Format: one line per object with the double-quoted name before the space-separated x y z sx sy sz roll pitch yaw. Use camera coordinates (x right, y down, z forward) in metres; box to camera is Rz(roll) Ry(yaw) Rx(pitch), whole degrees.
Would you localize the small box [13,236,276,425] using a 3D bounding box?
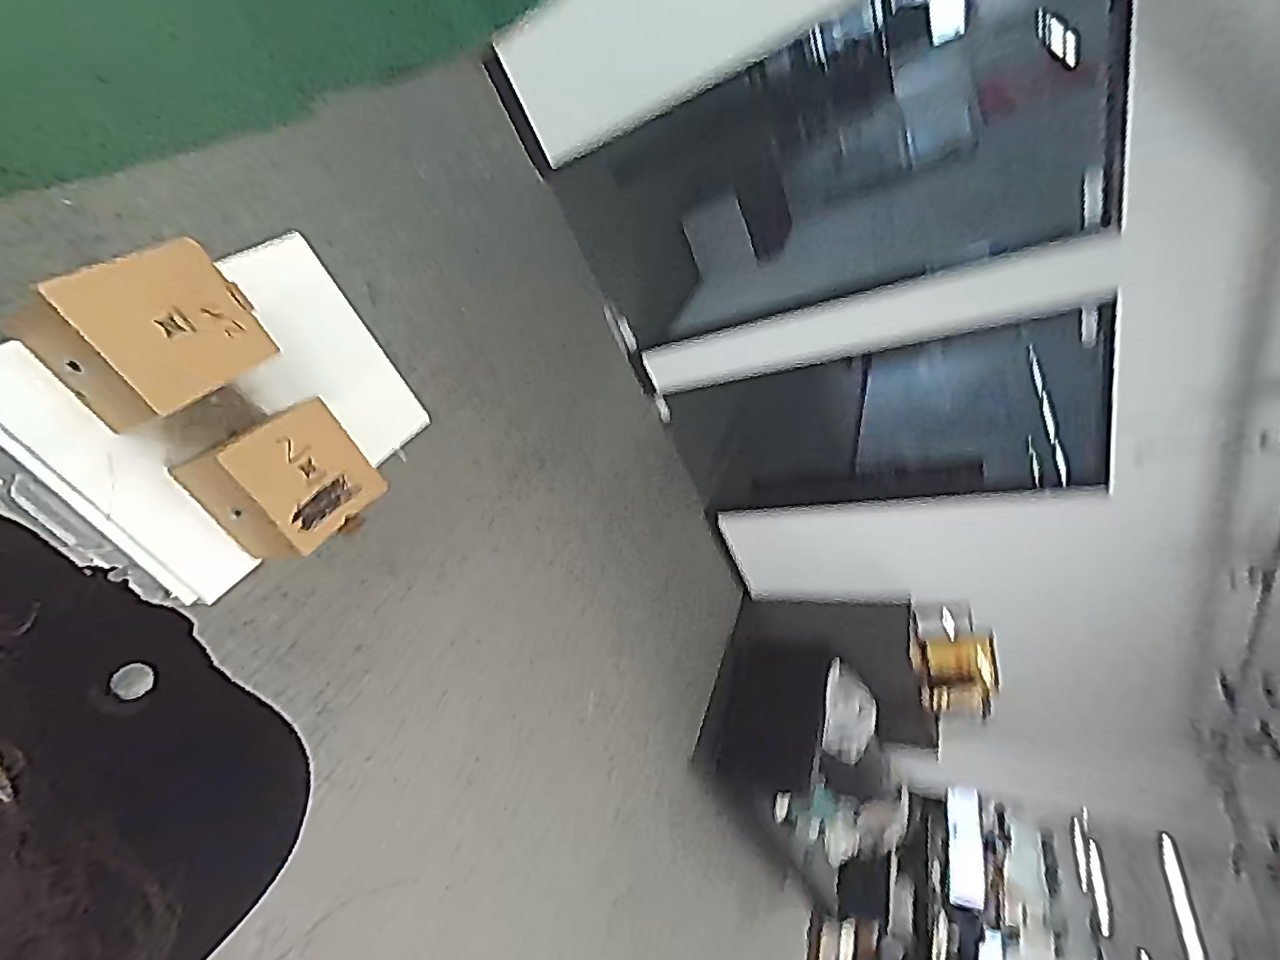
"small box" -0.636 -0.186 0.699 0.179 0.176 0.168 -58 134 -45
